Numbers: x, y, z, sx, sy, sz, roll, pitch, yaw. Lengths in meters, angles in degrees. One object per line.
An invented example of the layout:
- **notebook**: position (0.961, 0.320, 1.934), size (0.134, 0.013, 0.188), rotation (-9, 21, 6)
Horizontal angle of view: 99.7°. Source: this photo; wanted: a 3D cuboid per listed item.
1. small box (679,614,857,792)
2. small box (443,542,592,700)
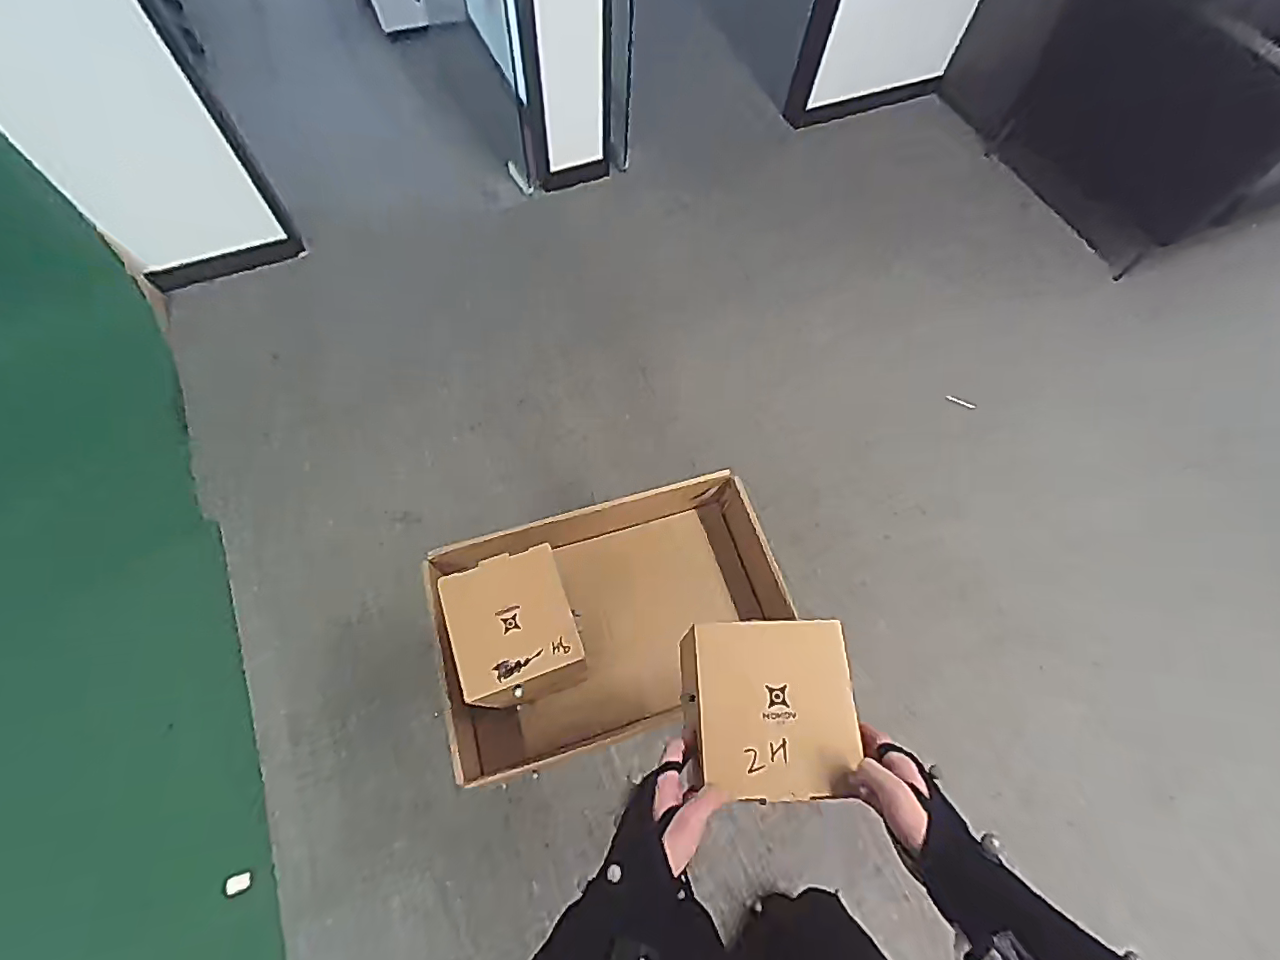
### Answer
- **small box**: position (0.137, 0.264, 0.651), size (0.168, 0.176, 0.179), rotation (-1, 68, -1)
- **small box**: position (-0.180, 0.222, 0.829), size (0.168, 0.176, 0.179), rotation (-19, 68, -8)
